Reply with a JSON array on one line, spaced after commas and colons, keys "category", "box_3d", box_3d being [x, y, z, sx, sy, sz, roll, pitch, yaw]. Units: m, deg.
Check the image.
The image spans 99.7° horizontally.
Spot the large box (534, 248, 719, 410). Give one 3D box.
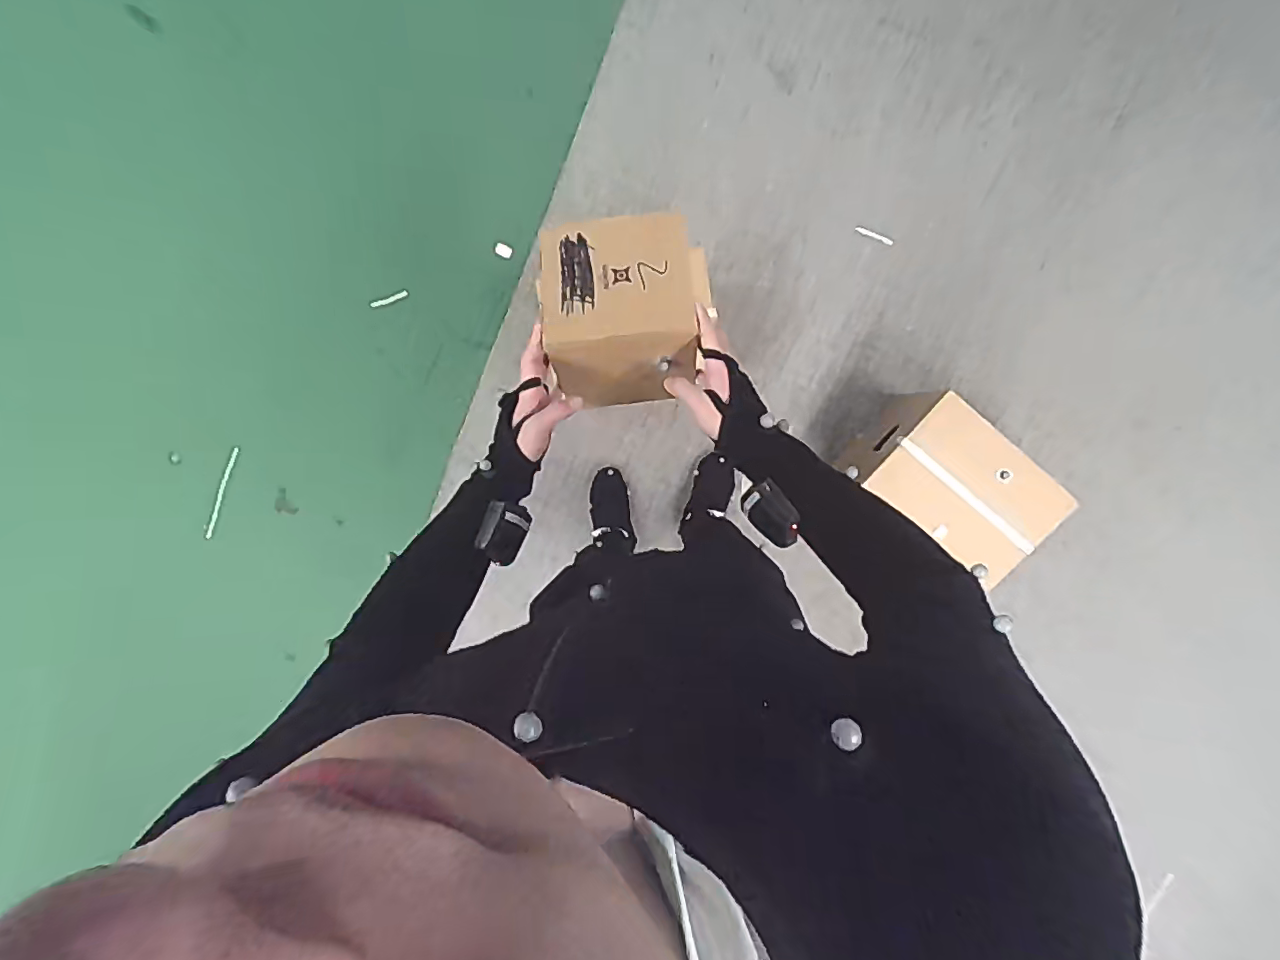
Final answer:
[{"category": "large box", "box_3d": [-0.021, -0.371, 1.419, 0.408, 0.320, 0.320, -9, 96, 5]}]
